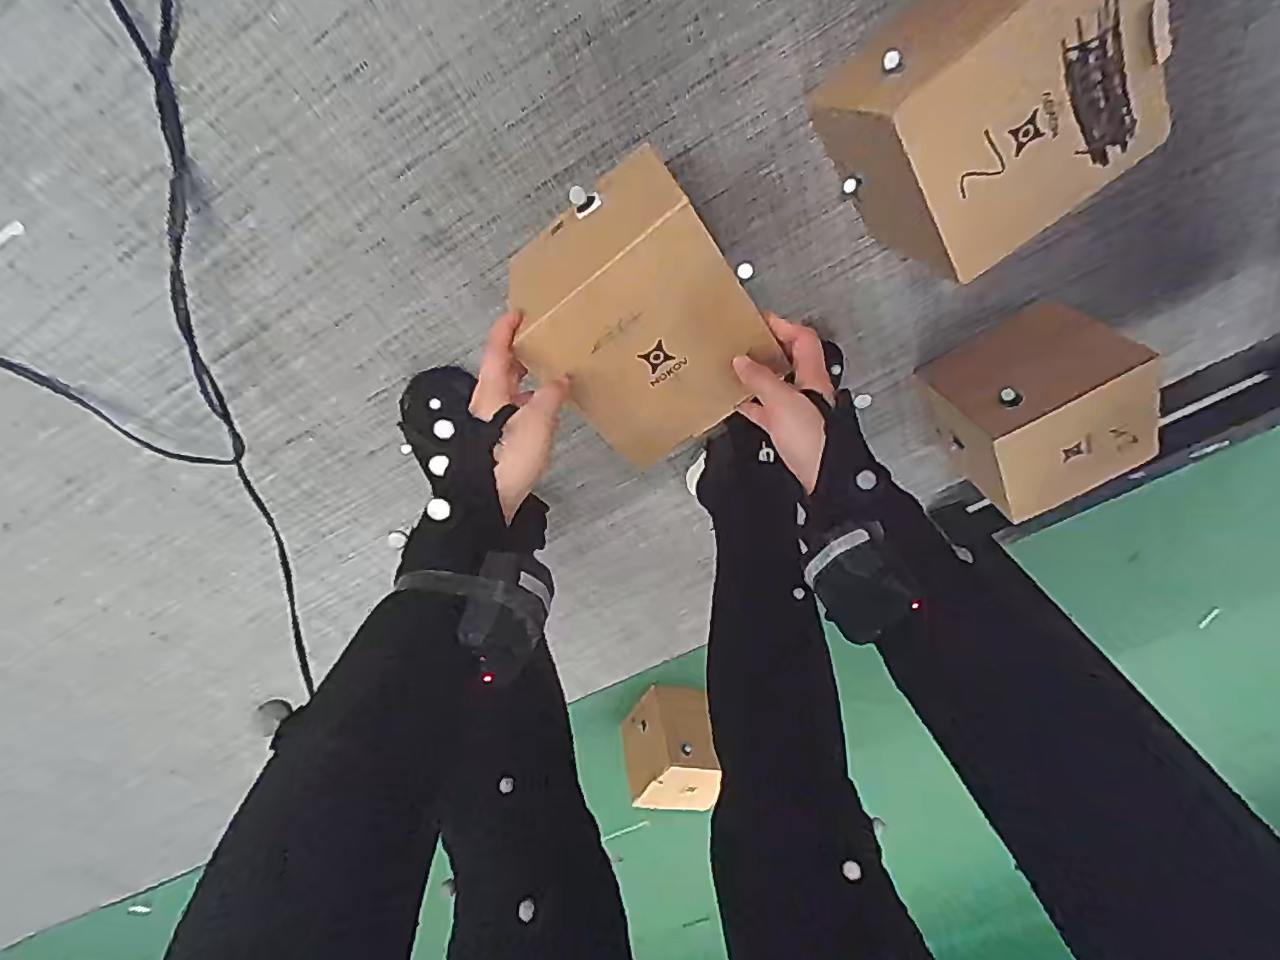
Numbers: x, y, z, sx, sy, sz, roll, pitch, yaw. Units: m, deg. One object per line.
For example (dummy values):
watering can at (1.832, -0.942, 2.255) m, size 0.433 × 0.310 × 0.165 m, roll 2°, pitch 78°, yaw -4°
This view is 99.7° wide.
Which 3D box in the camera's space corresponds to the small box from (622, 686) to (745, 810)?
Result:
small box at (0.079, 0.540, 1.092) m, size 0.179 × 0.176 × 0.168 m, roll 17°, pitch 123°, yaw -21°

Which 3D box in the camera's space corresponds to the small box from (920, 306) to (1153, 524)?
small box at (0.482, -0.084, 0.679) m, size 0.179 × 0.176 × 0.168 m, roll -32°, pitch 127°, yaw 14°
